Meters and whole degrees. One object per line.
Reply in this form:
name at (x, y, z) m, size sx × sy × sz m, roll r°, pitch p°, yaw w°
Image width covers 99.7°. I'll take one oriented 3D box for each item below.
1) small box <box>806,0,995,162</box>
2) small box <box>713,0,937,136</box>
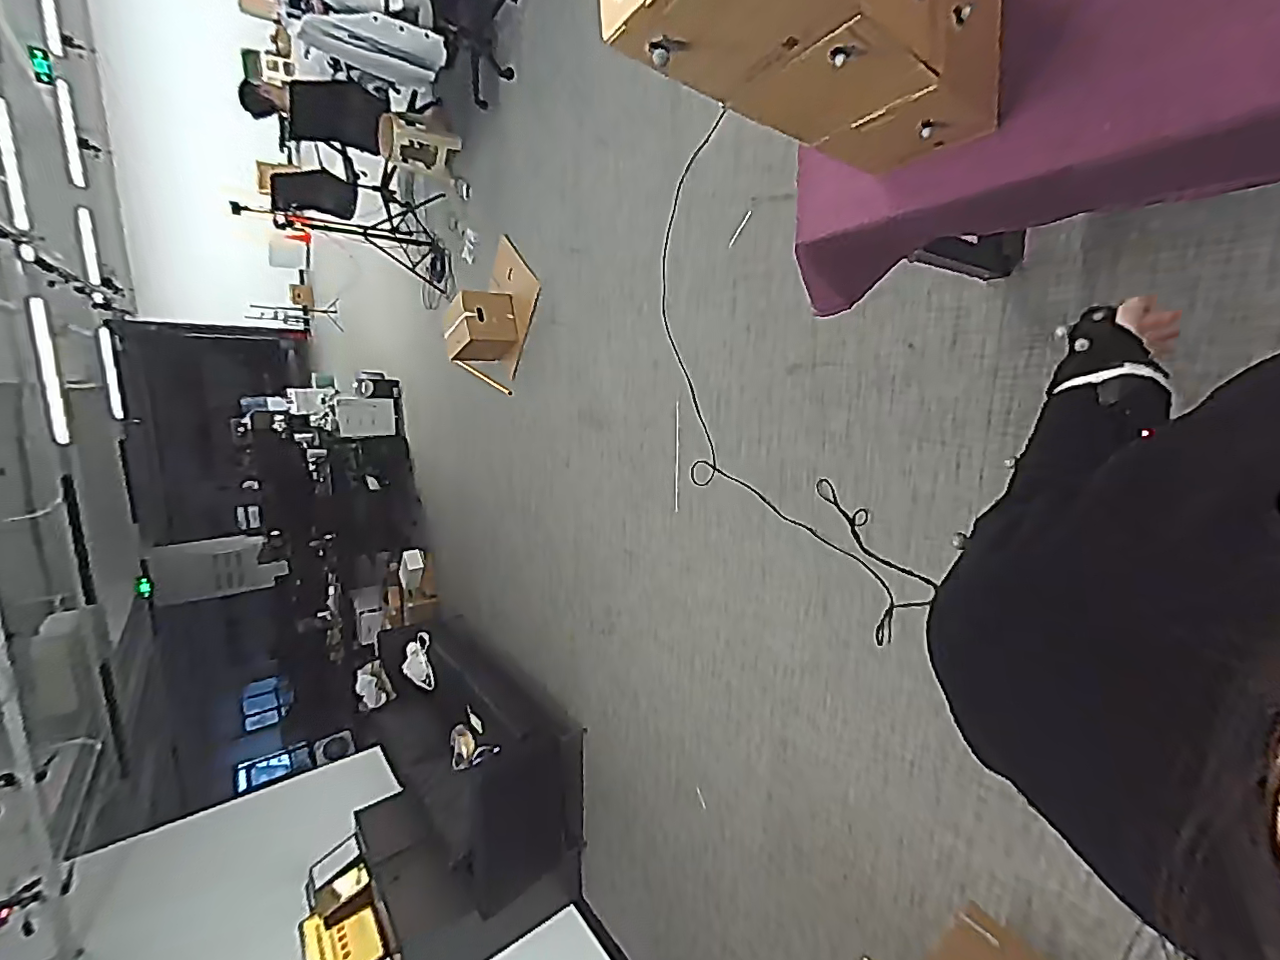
small box at (0.330, -0.533, 0.690) m, size 0.168 × 0.176 × 0.179 m, roll 7°, pitch 101°, yaw 50°
small box at (0.201, -0.517, 0.594) m, size 0.179 × 0.176 × 0.168 m, roll 4°, pitch 99°, yaw 50°
